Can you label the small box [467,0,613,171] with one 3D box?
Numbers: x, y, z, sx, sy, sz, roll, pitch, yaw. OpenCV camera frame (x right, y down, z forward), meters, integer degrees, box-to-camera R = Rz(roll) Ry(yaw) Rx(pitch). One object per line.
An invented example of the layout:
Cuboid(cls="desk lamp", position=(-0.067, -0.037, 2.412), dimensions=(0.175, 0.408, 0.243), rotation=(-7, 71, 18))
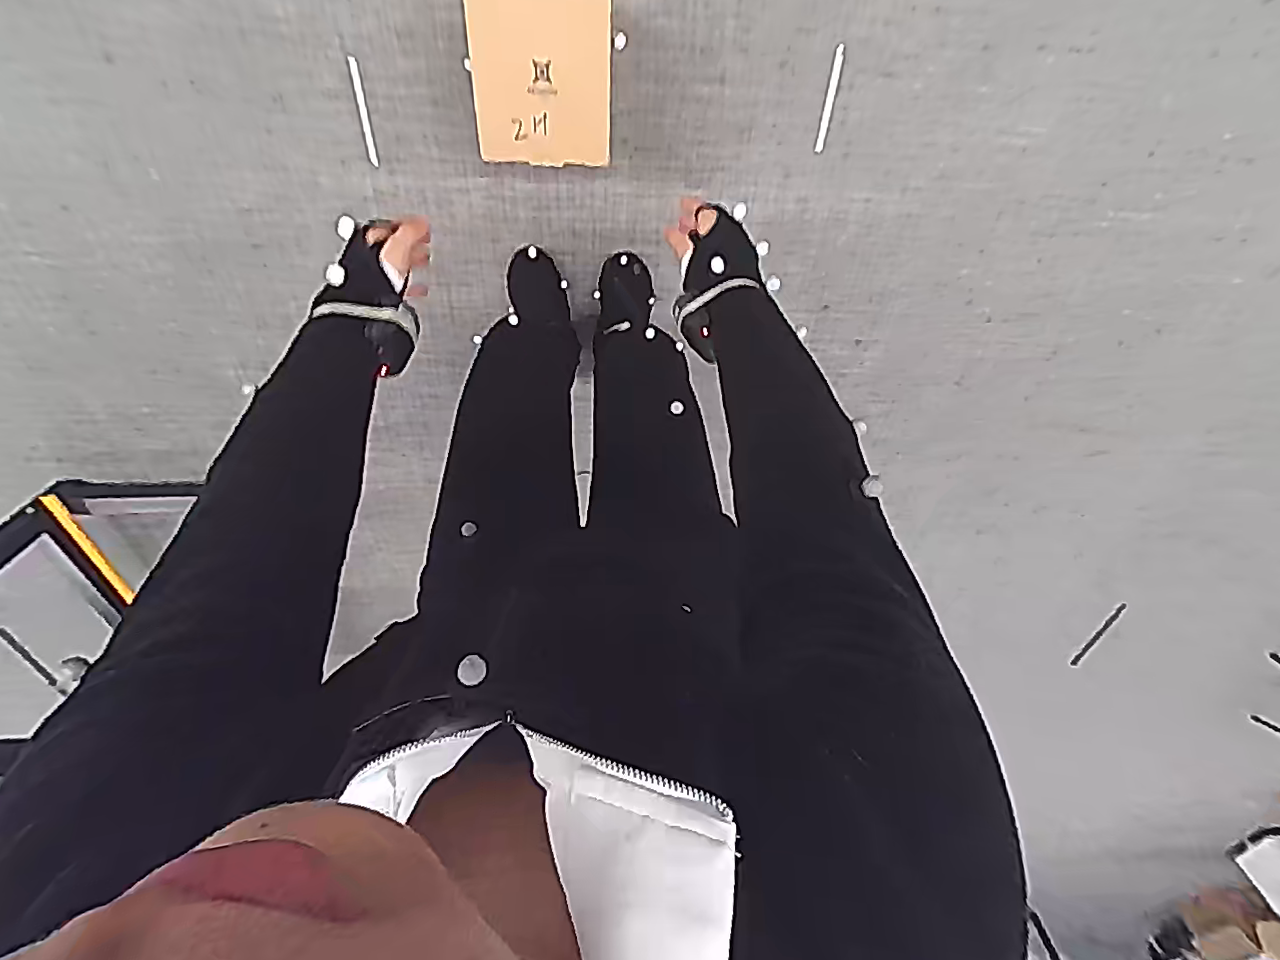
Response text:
Cuboid(cls="small box", position=(-0.121, -0.522, 0.710), dimensions=(0.168, 0.176, 0.179), rotation=(1, 128, -4))
